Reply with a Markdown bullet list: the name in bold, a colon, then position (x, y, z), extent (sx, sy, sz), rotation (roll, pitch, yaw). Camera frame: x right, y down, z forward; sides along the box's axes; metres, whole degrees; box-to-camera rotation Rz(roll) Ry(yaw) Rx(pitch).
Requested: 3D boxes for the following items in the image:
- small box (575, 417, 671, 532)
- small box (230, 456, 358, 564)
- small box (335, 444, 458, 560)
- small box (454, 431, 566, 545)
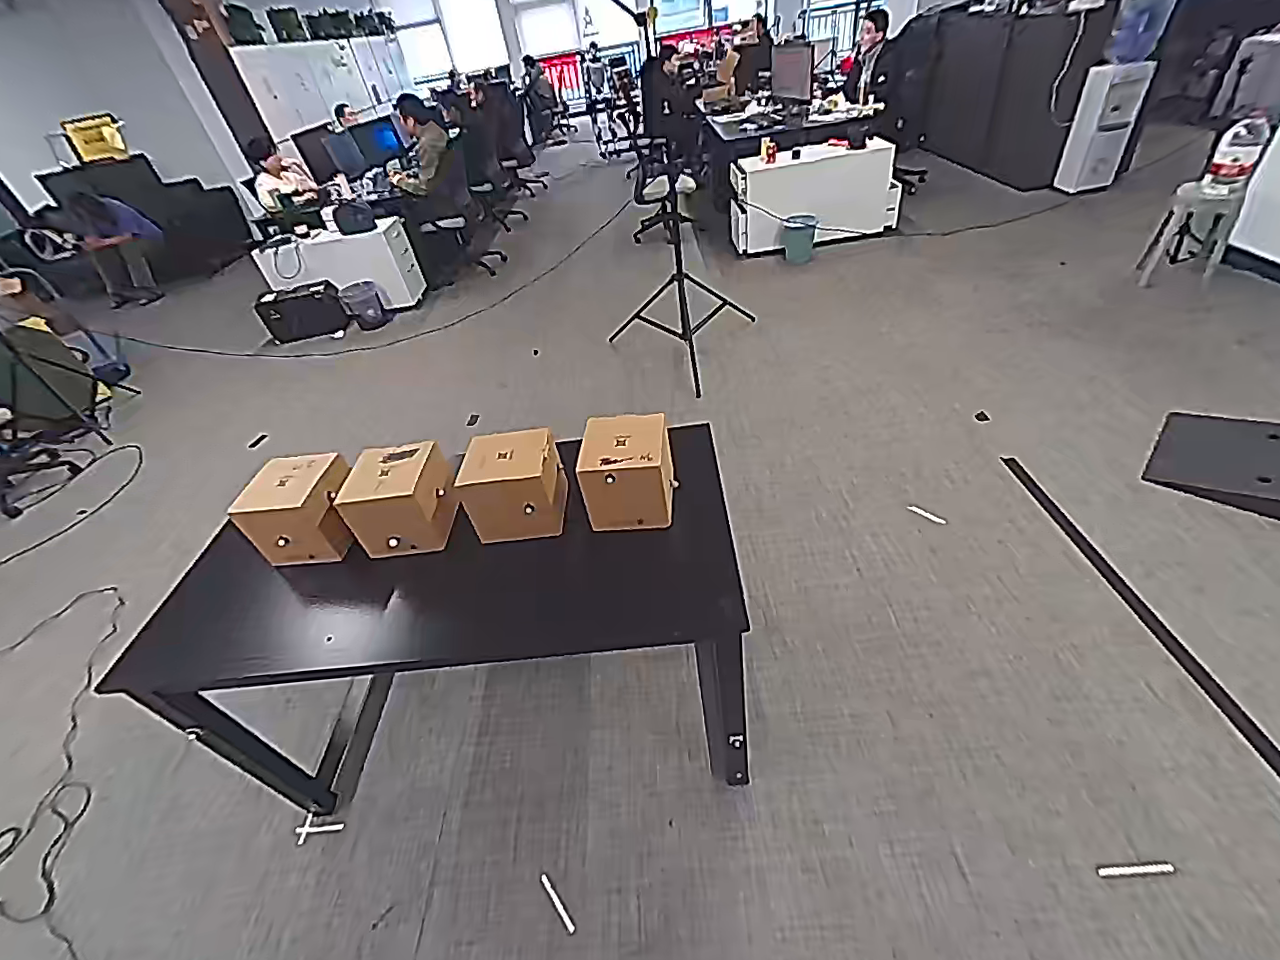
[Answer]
- **small box**: position (-0.026, -0.012, 1.131), extent (0.168, 0.176, 0.179), rotation (-4, 40, 9)
- **small box**: position (-0.733, 0.072, 1.191), extent (0.168, 0.176, 0.179), rotation (-4, 40, 6)
- **small box**: position (-0.511, 0.048, 1.168), extent (0.168, 0.176, 0.179), rotation (-8, 41, 3)
- **small box**: position (-0.264, 0.018, 1.152), extent (0.179, 0.176, 0.168), rotation (-8, 39, 5)
